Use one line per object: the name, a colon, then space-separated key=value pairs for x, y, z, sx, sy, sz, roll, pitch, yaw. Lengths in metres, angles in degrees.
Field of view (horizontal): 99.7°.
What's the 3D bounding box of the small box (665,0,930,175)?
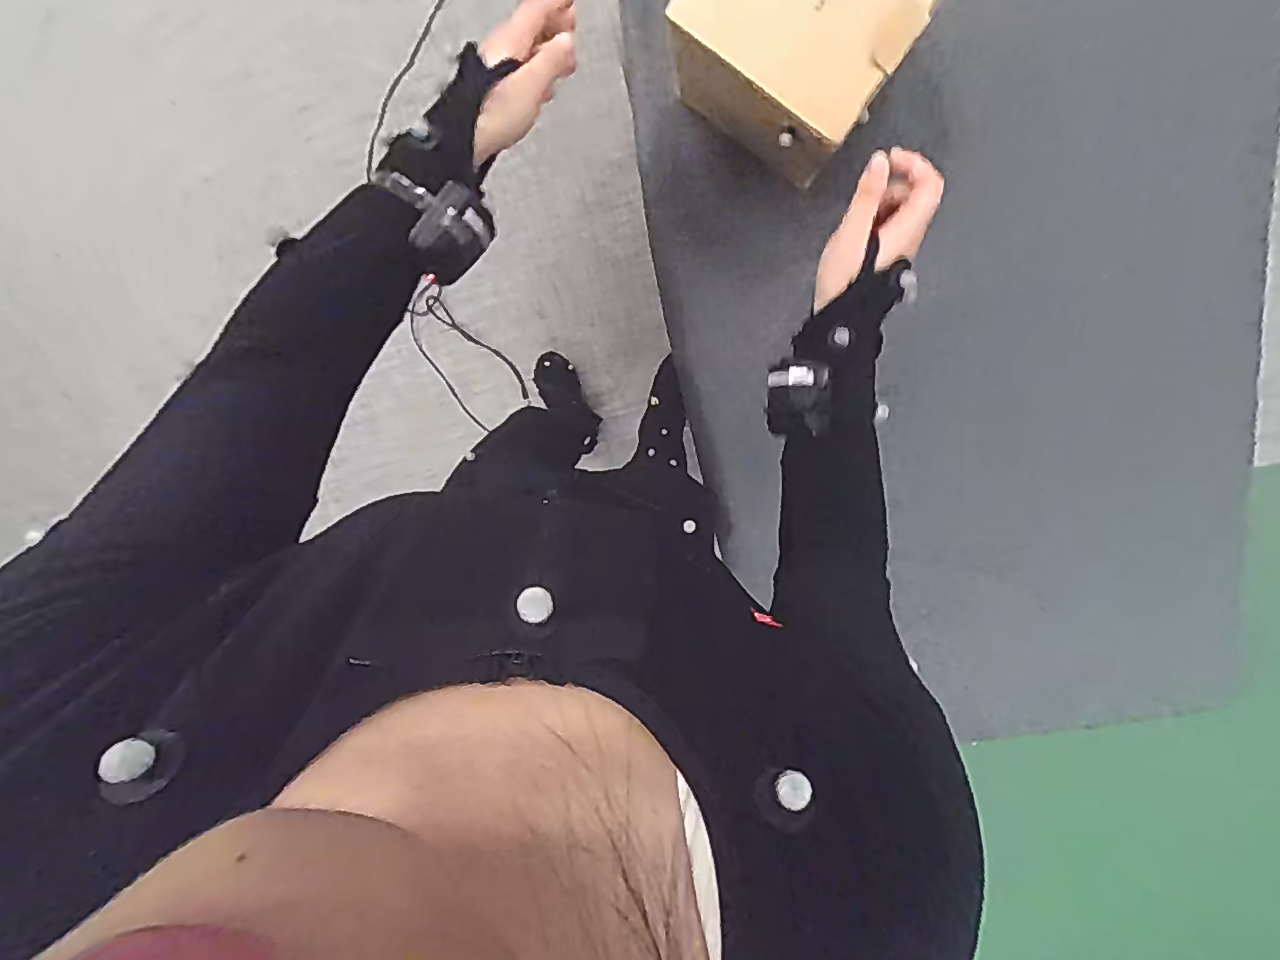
small box: x=0.141 y=-0.412 z=0.489 sx=0.179 sy=0.176 sz=0.168 roll=33 pitch=108 yaw=-5
